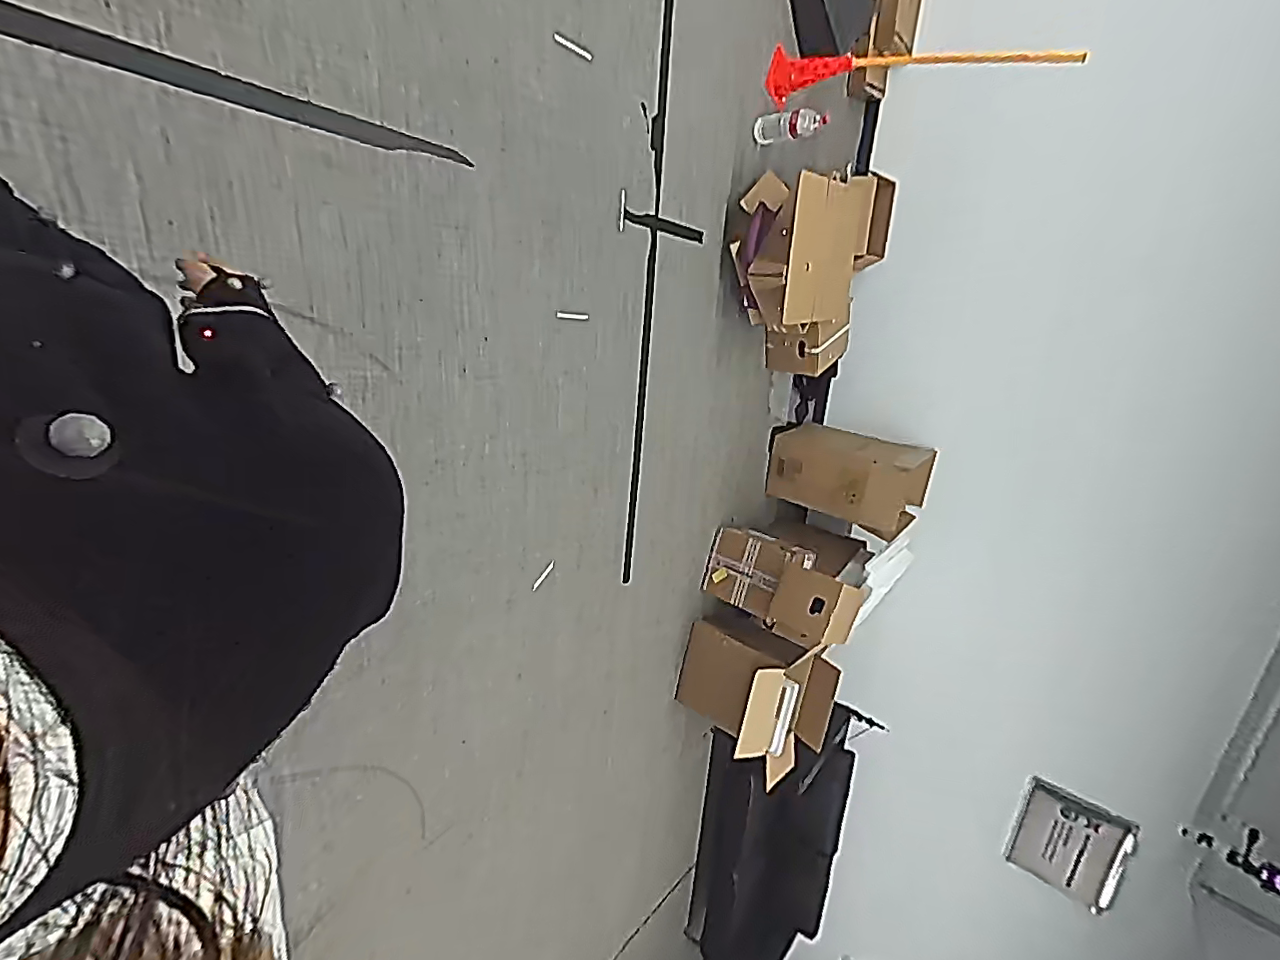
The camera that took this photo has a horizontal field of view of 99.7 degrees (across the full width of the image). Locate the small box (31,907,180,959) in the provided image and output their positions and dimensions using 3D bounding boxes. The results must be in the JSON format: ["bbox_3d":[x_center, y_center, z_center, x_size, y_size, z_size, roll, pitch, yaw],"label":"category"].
[{"bbox_3d":[-0.752,0.749,0.748,0.168,0.176,0.179,-9,111,-50],"label":"small box"}]

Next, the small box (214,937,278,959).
[{"bbox_3d":[-0.690,0.921,0.897,0.168,0.176,0.179,-10,112,-49],"label":"small box"}]
